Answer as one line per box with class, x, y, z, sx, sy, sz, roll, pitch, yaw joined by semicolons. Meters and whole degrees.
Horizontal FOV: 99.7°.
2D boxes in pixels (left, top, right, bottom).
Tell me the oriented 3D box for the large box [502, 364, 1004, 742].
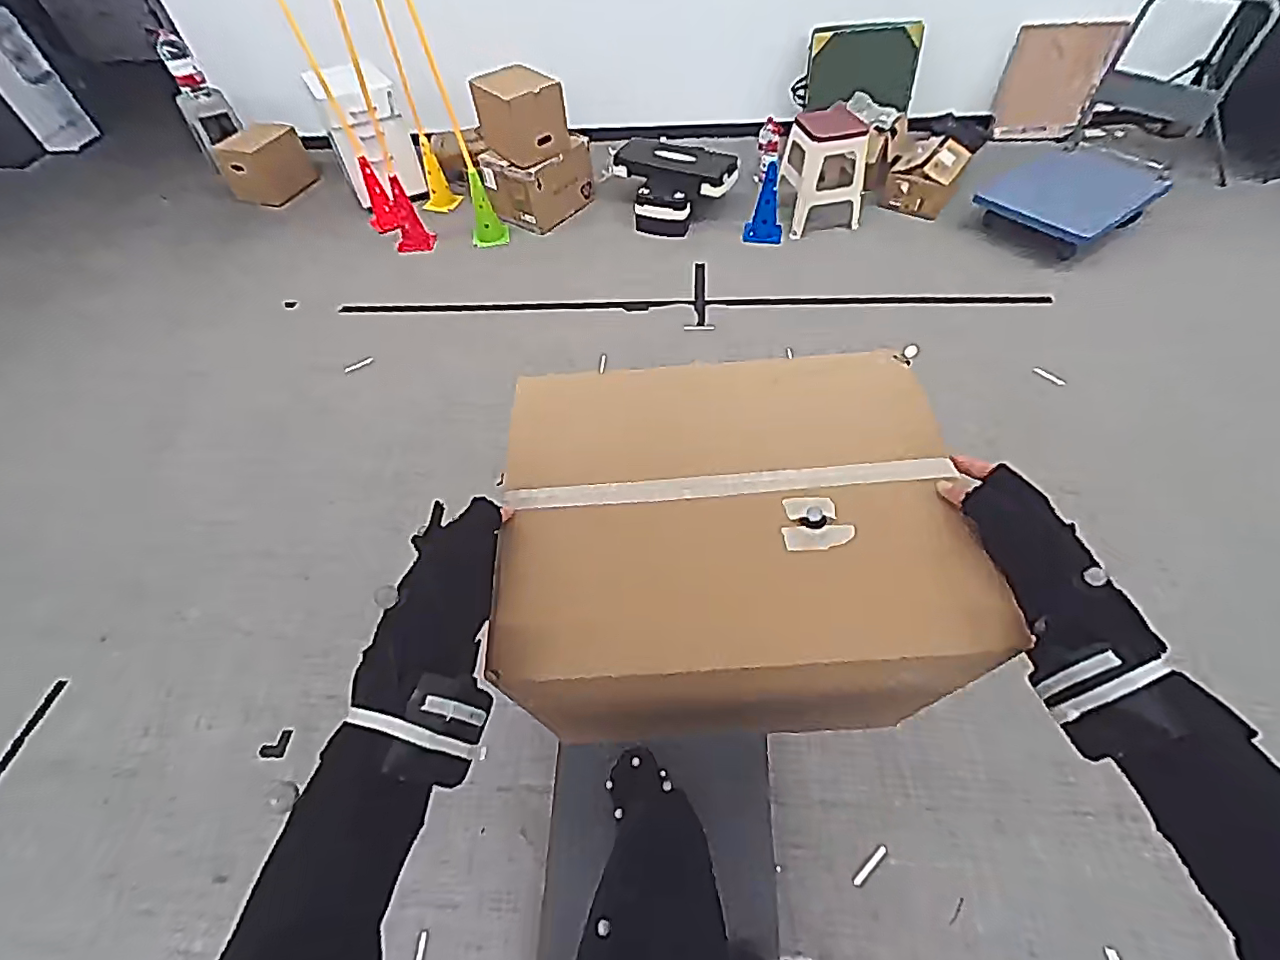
large box;0.085;0.098;0.626;0.408;0.320;0.320;-4;56;1
